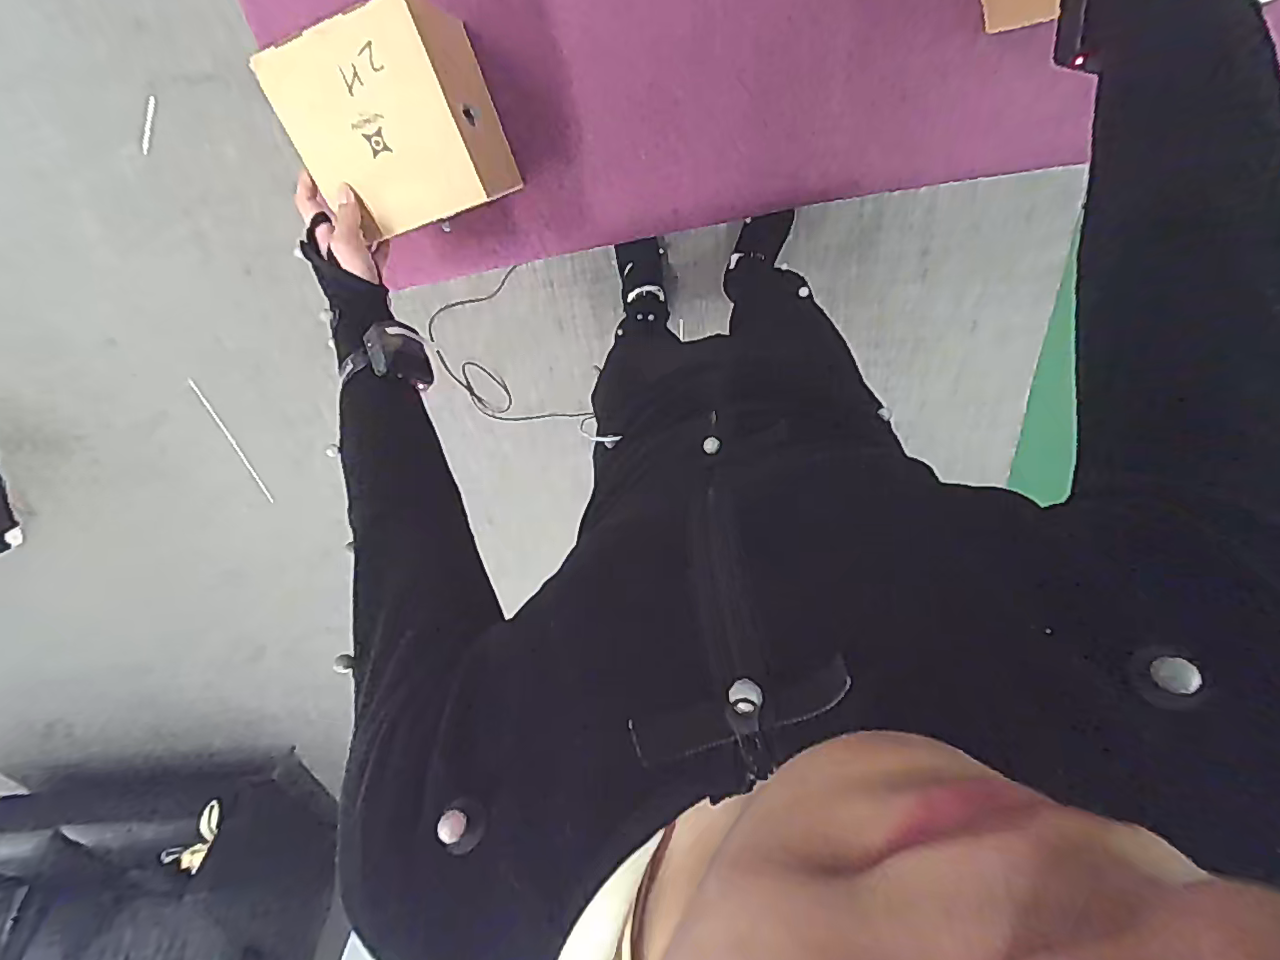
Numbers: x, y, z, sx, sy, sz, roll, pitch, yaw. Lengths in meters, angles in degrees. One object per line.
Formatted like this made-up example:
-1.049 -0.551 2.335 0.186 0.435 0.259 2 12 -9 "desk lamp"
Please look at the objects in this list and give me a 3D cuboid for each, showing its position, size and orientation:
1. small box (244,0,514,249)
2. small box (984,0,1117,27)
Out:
-0.255 -0.377 0.585 0.168 0.176 0.179 -13 121 10 "small box"
0.407 -0.528 0.458 0.168 0.176 0.179 -23 120 18 "small box"
